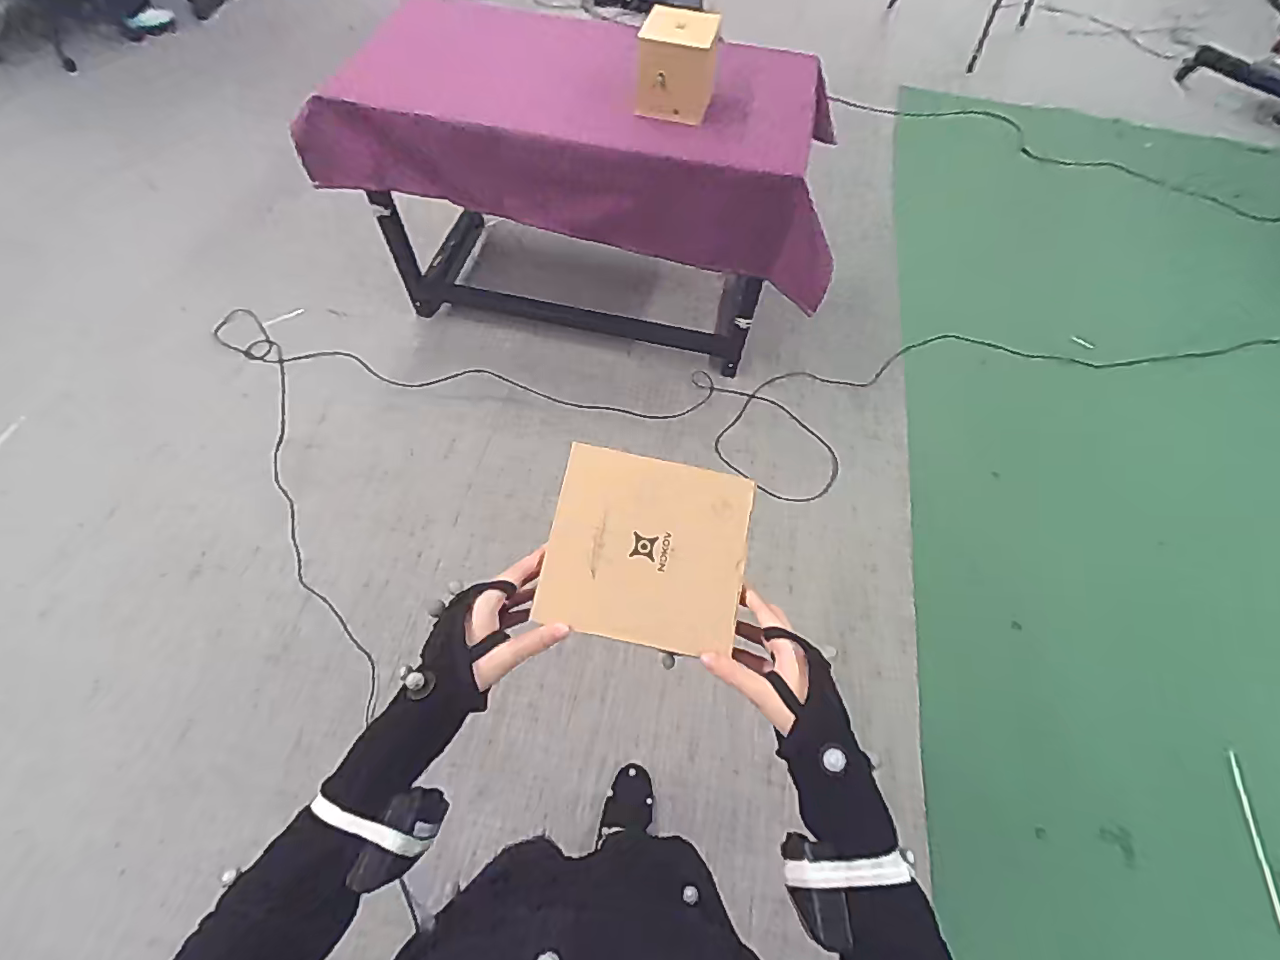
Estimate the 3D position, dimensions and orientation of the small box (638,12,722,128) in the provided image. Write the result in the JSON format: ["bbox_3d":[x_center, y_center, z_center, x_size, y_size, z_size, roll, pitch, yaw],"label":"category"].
[{"bbox_3d":[0.094,-0.995,1.319,0.168,0.176,0.179,14,60,5],"label":"small box"}]
